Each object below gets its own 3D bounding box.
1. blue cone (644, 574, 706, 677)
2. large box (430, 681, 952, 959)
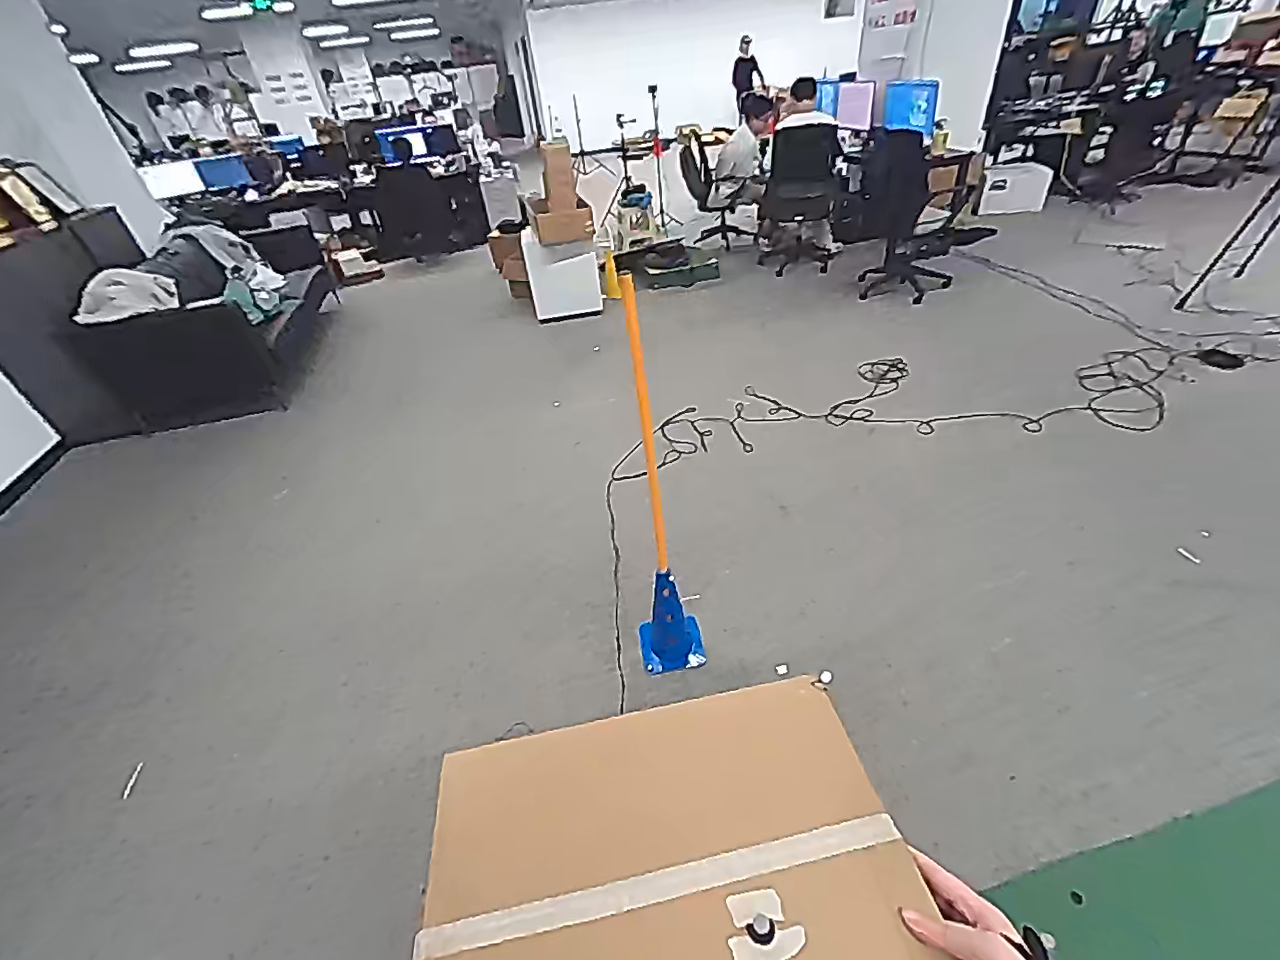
[{"bbox_3d":[0.093,0.425,1.683,0.193,0.380,0.192,-8,38,-1],"label":"blue cone"},{"bbox_3d":[0.034,0.463,0.543,0.408,0.320,0.320,-10,37,-6],"label":"large box"}]
